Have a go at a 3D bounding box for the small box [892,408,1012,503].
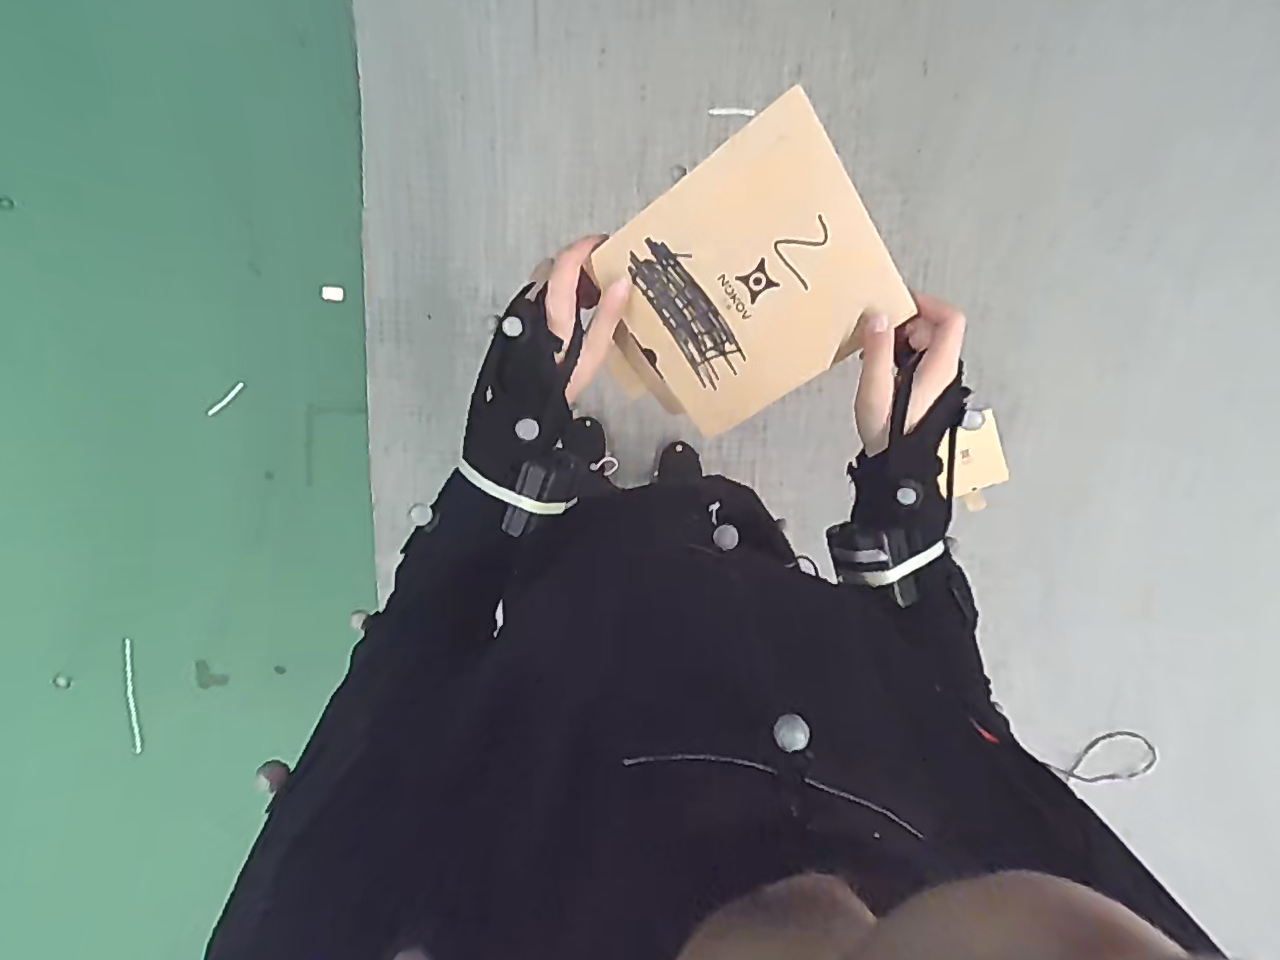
[{"bbox_3d":[0.734,-0.062,1.290,0.168,0.176,0.179,-20,98,1],"label":"small box"}]
